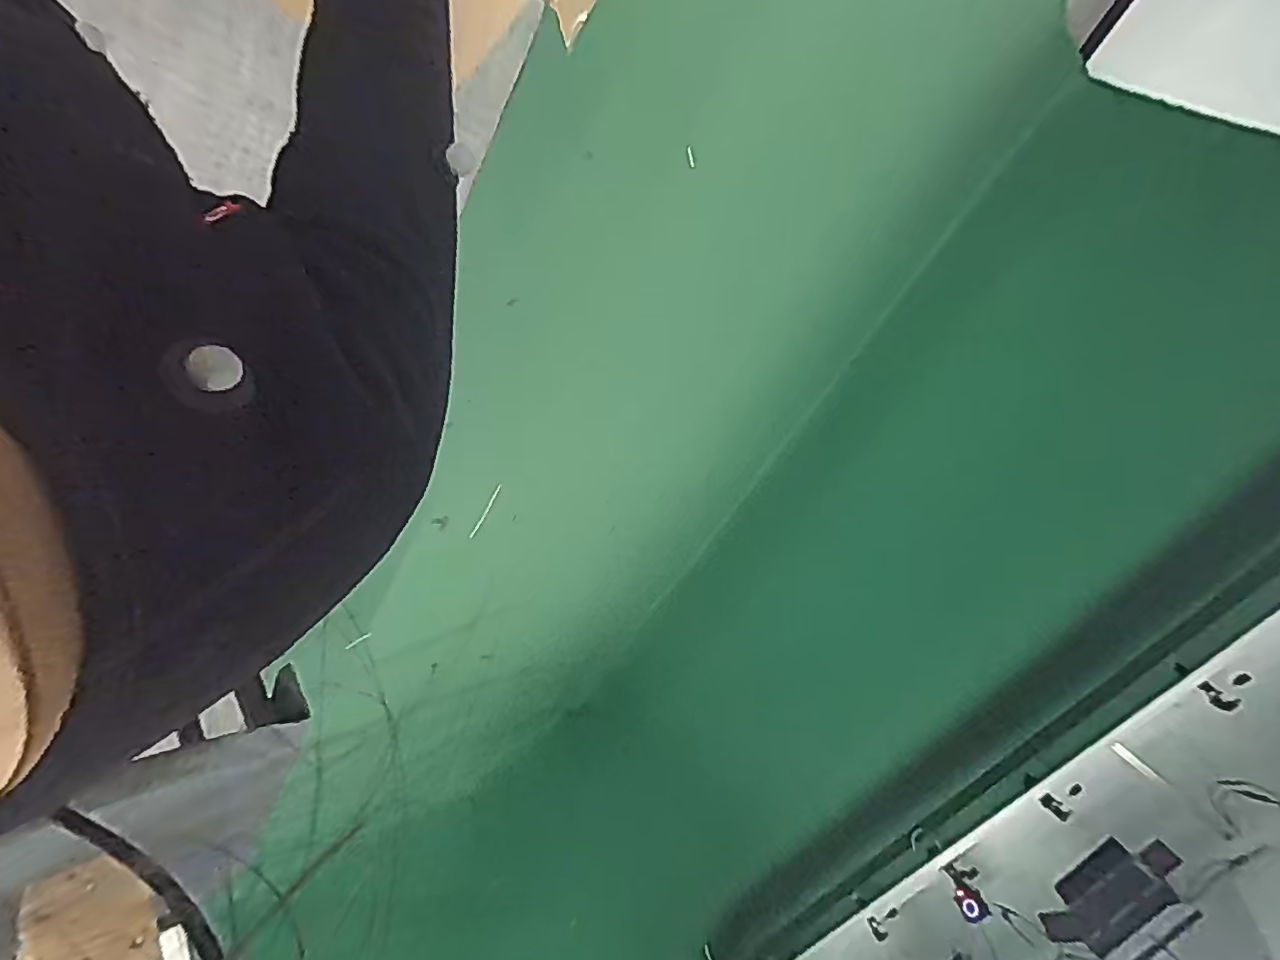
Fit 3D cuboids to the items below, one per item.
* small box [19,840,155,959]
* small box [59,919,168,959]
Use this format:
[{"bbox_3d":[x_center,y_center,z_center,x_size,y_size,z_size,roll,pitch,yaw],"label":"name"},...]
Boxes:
[{"bbox_3d":[-1.133,0.890,1.106,0.168,0.176,0.179,1,129,-55],"label":"small box"},{"bbox_3d":[-1.032,0.997,1.034,0.168,0.176,0.179,5,127,-55],"label":"small box"}]
